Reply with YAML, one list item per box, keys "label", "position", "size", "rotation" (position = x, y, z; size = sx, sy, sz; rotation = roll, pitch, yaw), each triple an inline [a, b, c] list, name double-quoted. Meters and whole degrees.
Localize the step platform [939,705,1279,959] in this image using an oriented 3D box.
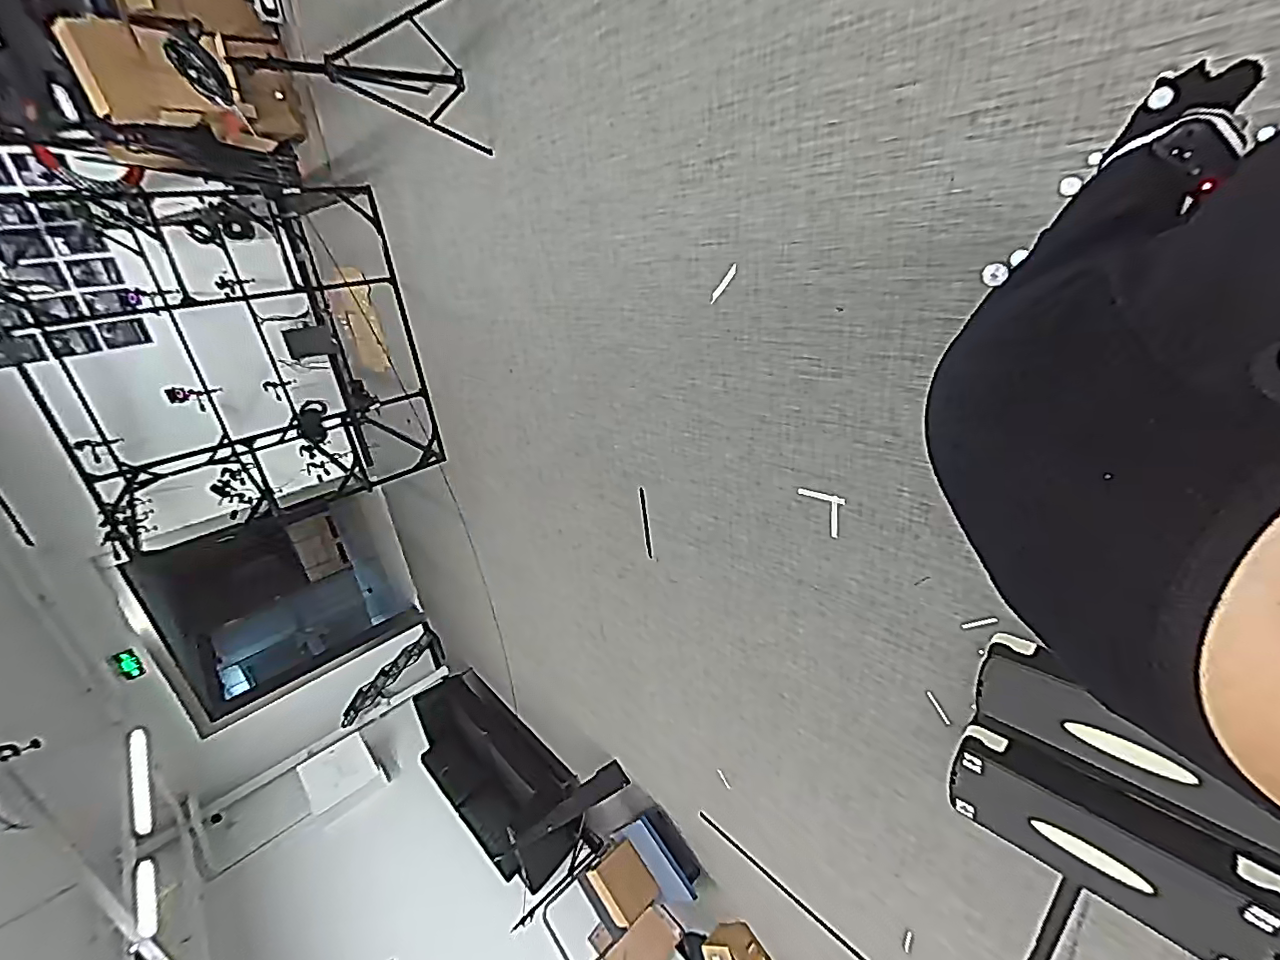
- label: "step platform"
  position: [1.195, 0.922, 1.459]
  size: [0.684, 0.204, 0.286]
  rotation: [19, 125, 46]
